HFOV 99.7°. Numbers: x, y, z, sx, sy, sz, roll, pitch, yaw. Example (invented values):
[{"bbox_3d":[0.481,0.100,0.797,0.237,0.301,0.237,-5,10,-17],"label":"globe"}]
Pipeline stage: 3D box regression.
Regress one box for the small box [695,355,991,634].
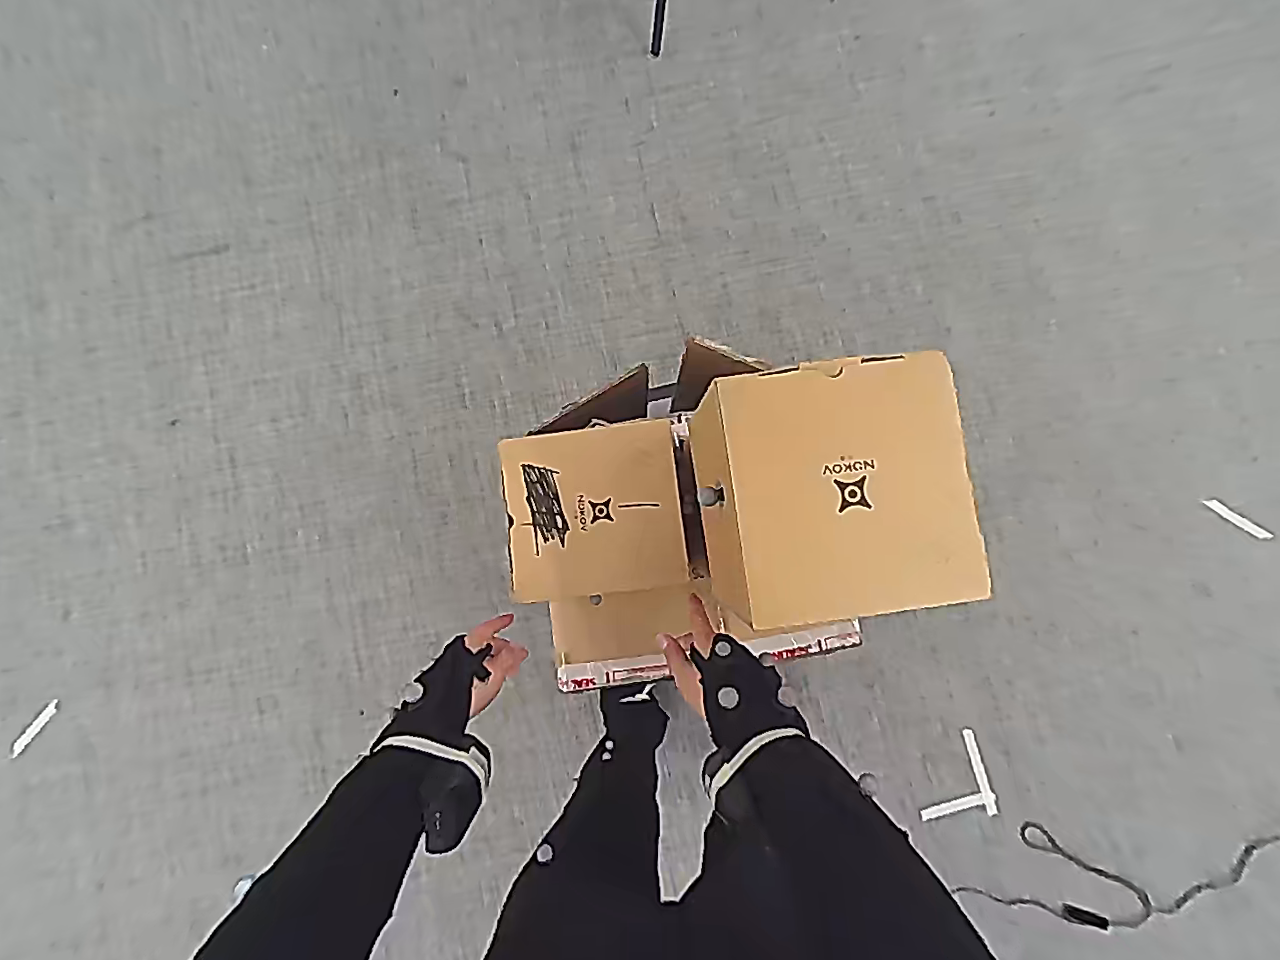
[{"bbox_3d":[0.145,0.015,0.449,0.168,0.176,0.179,-8,84,-1],"label":"small box"}]
